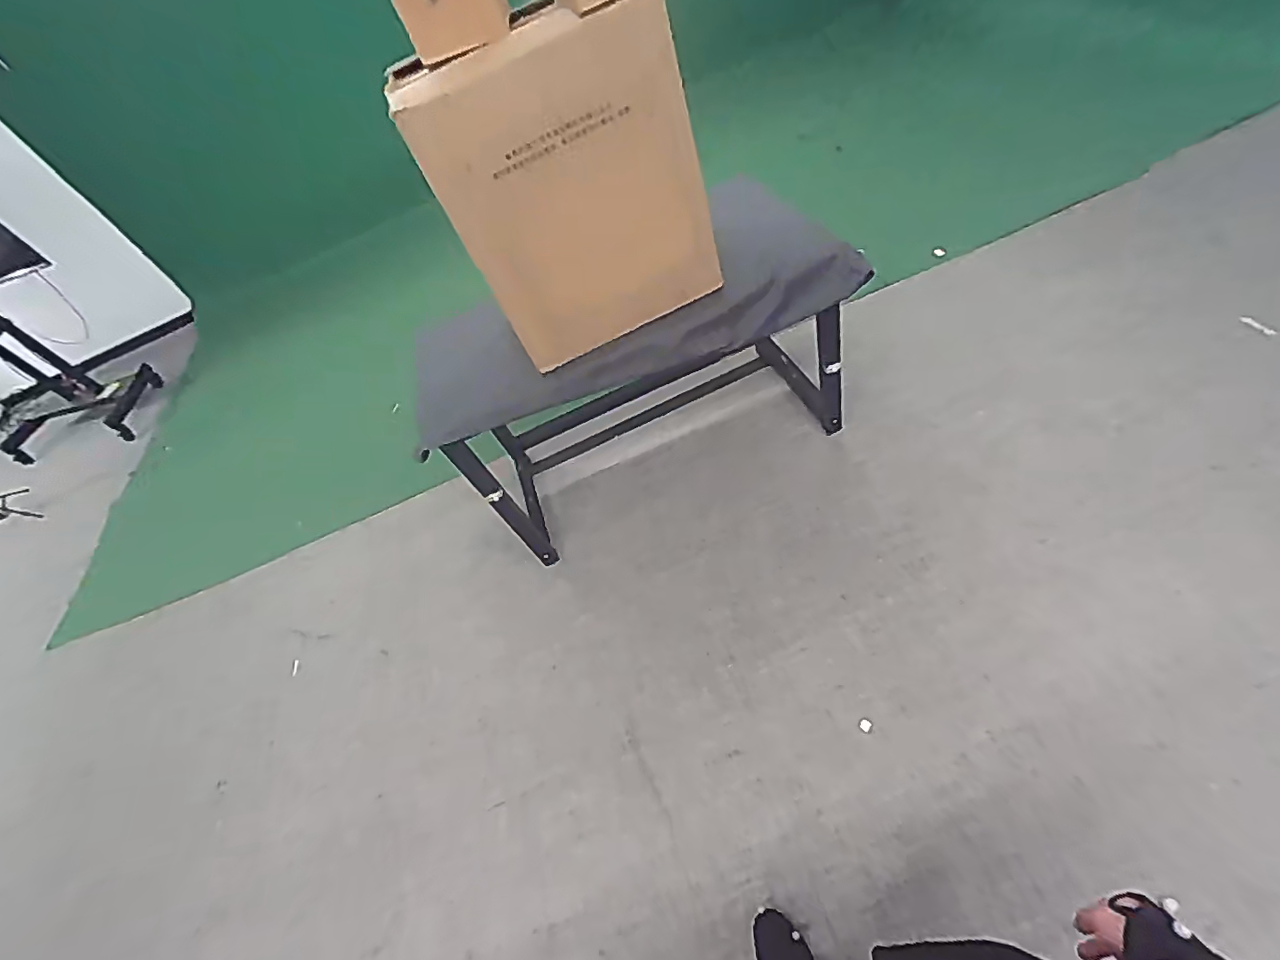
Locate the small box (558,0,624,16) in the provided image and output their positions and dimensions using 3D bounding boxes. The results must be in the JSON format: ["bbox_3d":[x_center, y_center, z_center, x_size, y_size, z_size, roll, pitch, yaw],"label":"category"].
[{"bbox_3d":[-0.078,-0.946,0.941,0.168,0.176,0.179,-26,50,0],"label":"small box"}]

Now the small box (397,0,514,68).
[{"bbox_3d":[-0.350,-0.906,0.996,0.179,0.176,0.168,-15,58,8],"label":"small box"}]
